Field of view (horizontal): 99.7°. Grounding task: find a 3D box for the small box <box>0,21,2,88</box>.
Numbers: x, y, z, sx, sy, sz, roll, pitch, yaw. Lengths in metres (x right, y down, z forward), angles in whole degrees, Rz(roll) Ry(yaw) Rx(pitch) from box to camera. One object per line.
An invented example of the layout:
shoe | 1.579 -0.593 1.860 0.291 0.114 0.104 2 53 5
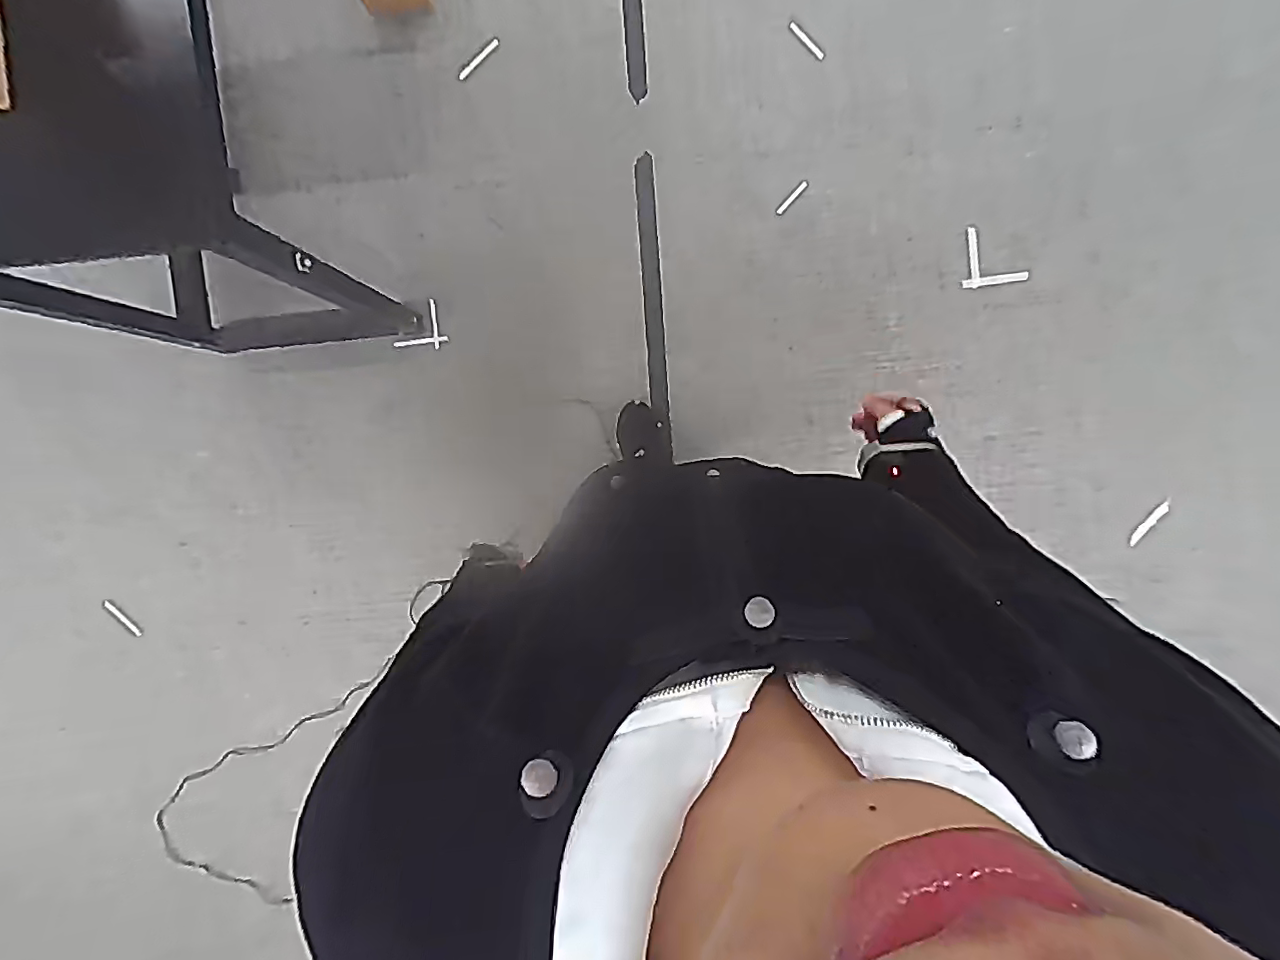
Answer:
small box | -0.963 -0.590 0.670 0.179 0.176 0.168 -2 94 2

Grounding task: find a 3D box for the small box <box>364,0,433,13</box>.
small box | -0.635 -1.308 1.338 0.179 0.176 0.168 -6 95 3
